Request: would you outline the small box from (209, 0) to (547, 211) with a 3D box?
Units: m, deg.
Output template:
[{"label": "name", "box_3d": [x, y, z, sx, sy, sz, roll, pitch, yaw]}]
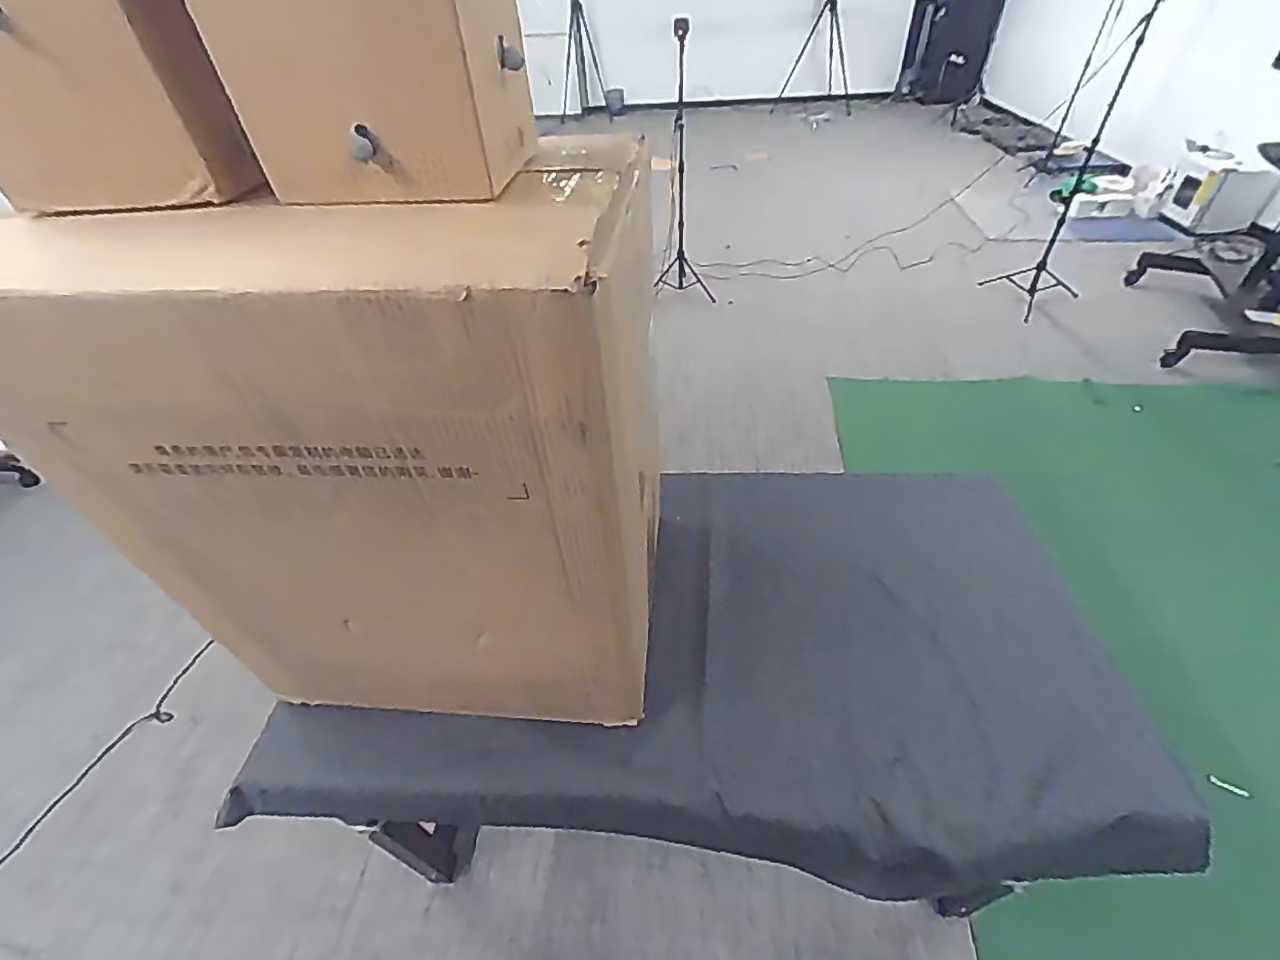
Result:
[{"label": "small box", "box_3d": [-0.180, -0.325, 0.424, 0.179, 0.176, 0.168, 1, 43, 5]}]
